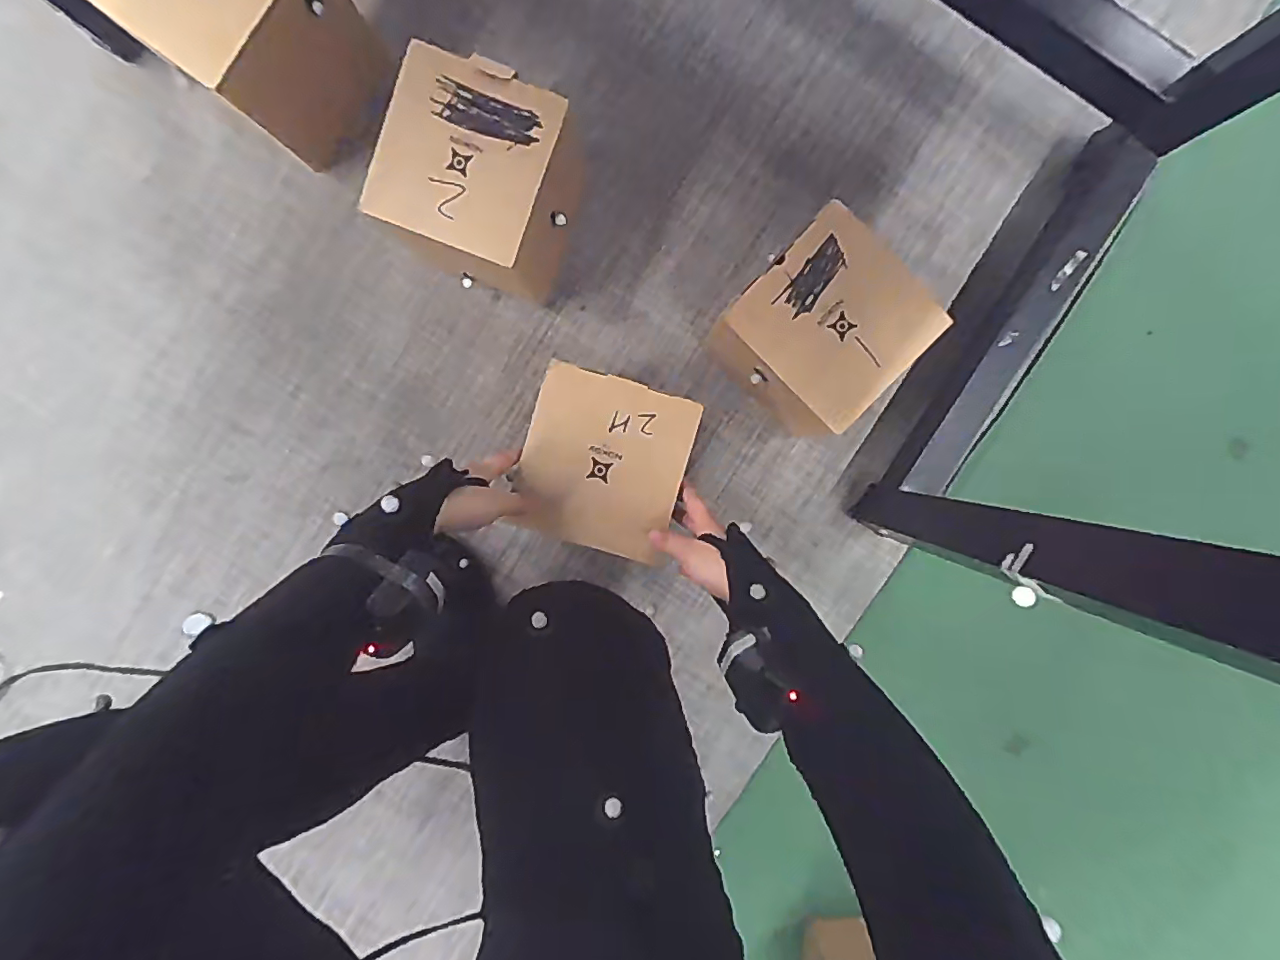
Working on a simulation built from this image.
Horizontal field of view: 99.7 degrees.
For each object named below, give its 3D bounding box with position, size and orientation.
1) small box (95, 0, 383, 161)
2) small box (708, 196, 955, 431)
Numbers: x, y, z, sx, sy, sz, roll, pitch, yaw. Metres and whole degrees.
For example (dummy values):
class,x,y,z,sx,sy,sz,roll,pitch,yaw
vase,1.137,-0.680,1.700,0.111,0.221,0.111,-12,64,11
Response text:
class,x,y,z,sx,sy,sz,roll,pitch,yaw
small box,-0.424,-0.504,0.596,0.168,0.176,0.179,36,93,-2
small box,0.198,-0.170,0.617,0.168,0.176,0.179,-45,95,3
